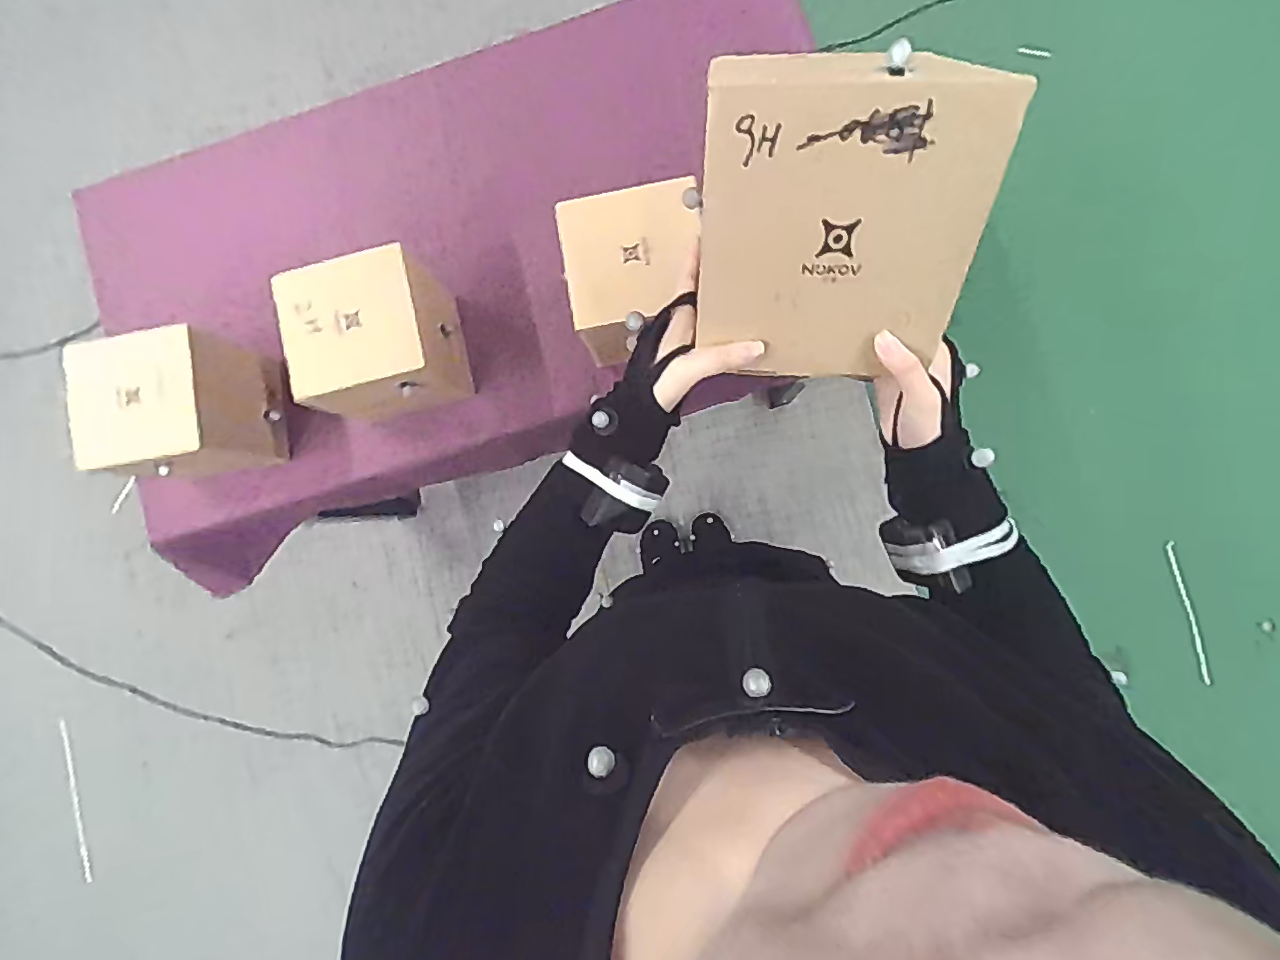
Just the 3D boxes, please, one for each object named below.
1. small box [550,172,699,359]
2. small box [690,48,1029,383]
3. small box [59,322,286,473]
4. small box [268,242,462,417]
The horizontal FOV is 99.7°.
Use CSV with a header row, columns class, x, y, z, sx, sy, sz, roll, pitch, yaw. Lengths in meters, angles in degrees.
class,x,y,z,sx,sy,sz,roll,pitch,yaw
small box,-0.008,-0.274,0.733,0.179,0.176,0.168,-10,86,3
small box,0.128,-0.194,0.394,0.168,0.179,0.176,4,43,5
small box,-0.650,-0.105,0.769,0.179,0.176,0.168,-9,87,3
small box,-0.365,-0.196,0.753,0.179,0.176,0.168,-13,85,3
